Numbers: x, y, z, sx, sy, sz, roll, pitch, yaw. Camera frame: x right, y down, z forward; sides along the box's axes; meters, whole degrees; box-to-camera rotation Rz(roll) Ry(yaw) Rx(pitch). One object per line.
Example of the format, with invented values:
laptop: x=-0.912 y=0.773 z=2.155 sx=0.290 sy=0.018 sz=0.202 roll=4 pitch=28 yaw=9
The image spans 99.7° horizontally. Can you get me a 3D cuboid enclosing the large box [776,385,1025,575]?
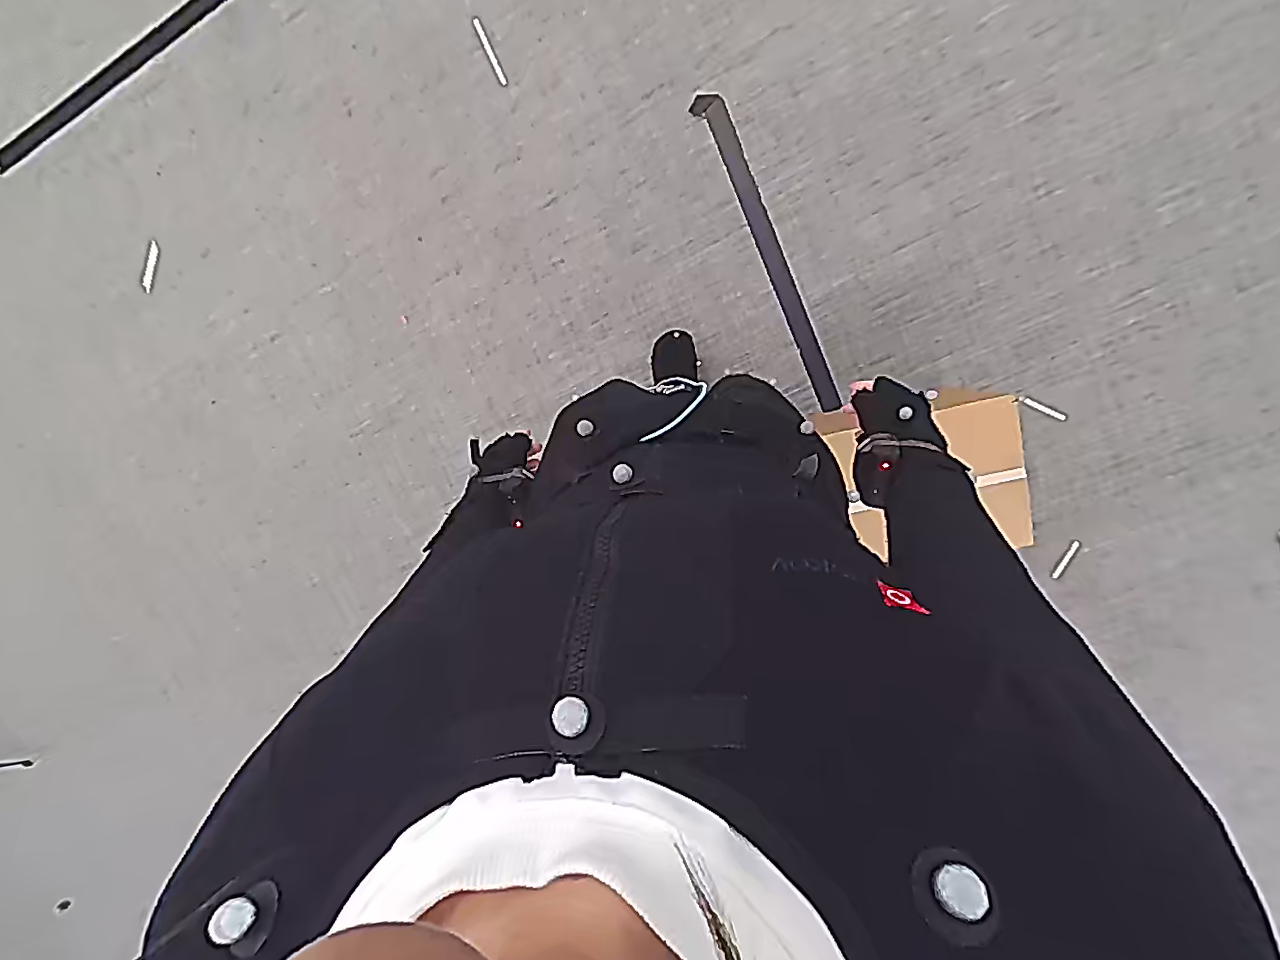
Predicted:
large box: x=0.558 y=-0.018 z=1.230 sx=0.408 sy=0.320 sz=0.320 roll=-12 pitch=102 yaw=8
